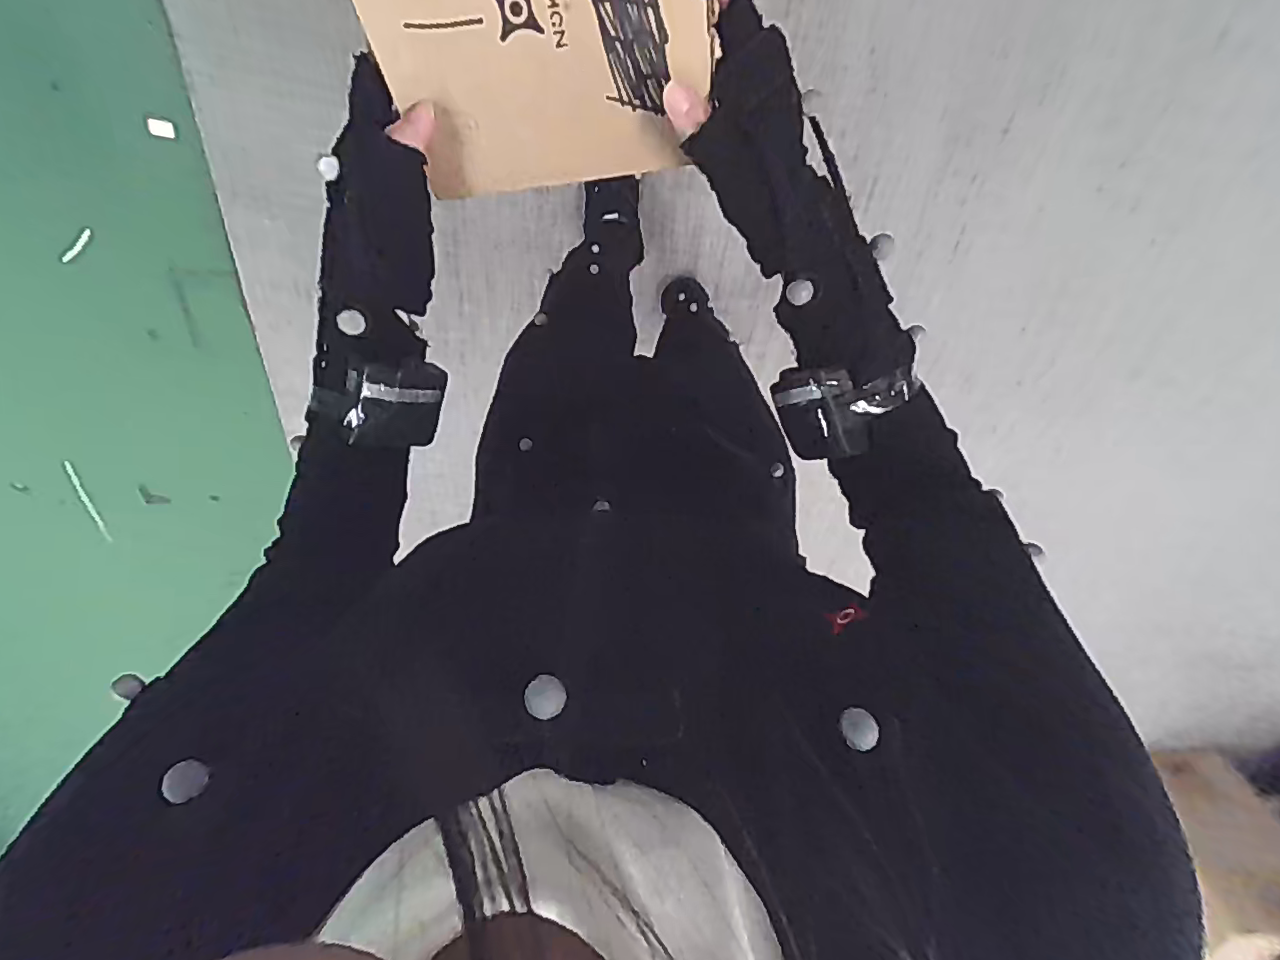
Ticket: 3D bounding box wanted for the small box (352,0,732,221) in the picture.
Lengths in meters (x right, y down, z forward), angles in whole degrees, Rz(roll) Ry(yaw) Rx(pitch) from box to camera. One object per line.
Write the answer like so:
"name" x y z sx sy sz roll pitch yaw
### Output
"small box" -0.050 -0.288 0.316 0.179 0.176 0.168 -9 142 9
